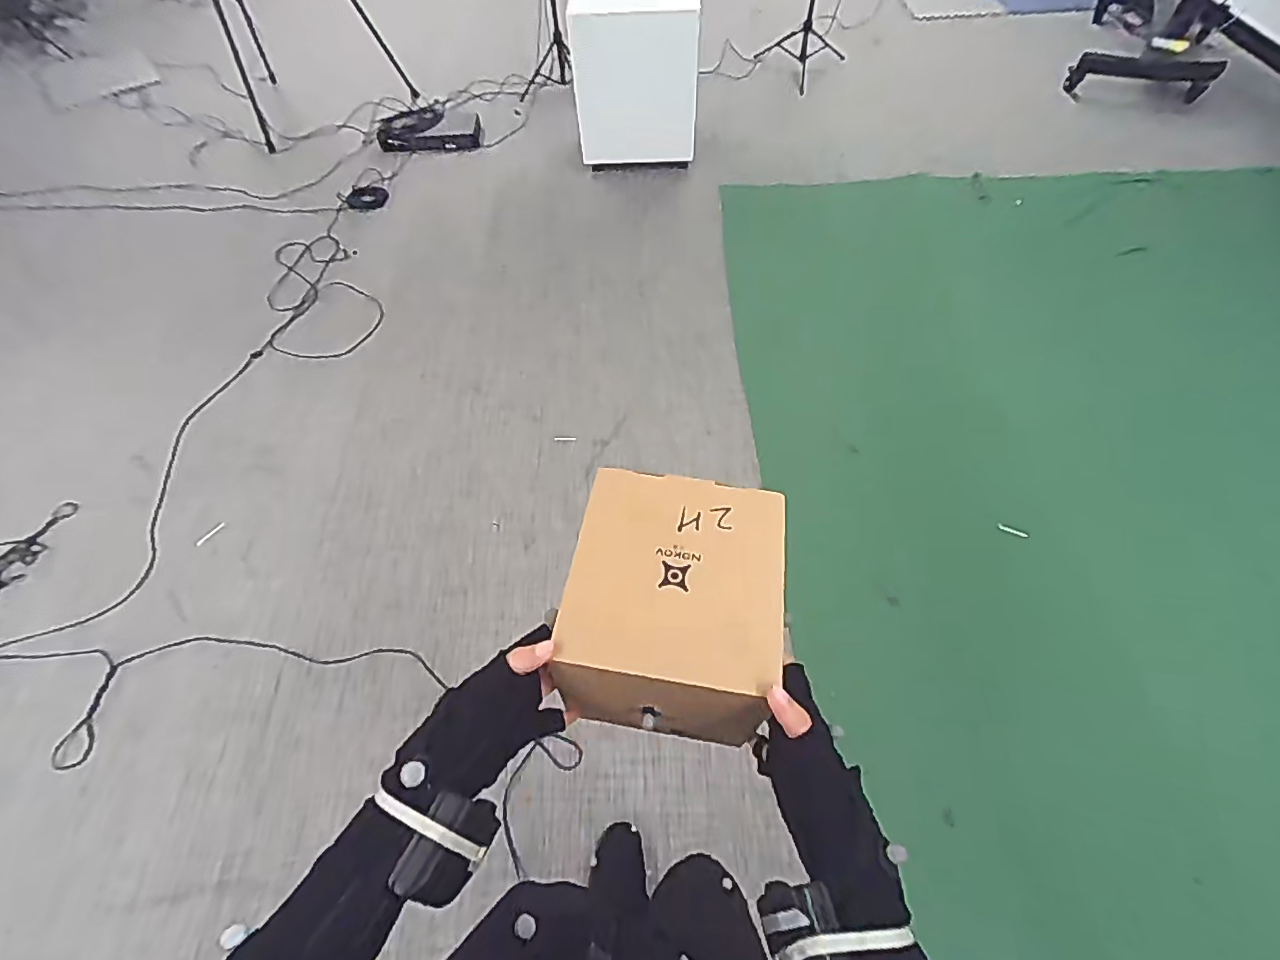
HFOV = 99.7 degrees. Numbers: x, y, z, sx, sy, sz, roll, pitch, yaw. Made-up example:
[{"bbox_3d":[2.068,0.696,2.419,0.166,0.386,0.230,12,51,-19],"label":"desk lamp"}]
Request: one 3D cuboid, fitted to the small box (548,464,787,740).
[{"bbox_3d":[0.029,0.113,0.481,0.168,0.176,0.179,9,53,5],"label":"small box"}]
